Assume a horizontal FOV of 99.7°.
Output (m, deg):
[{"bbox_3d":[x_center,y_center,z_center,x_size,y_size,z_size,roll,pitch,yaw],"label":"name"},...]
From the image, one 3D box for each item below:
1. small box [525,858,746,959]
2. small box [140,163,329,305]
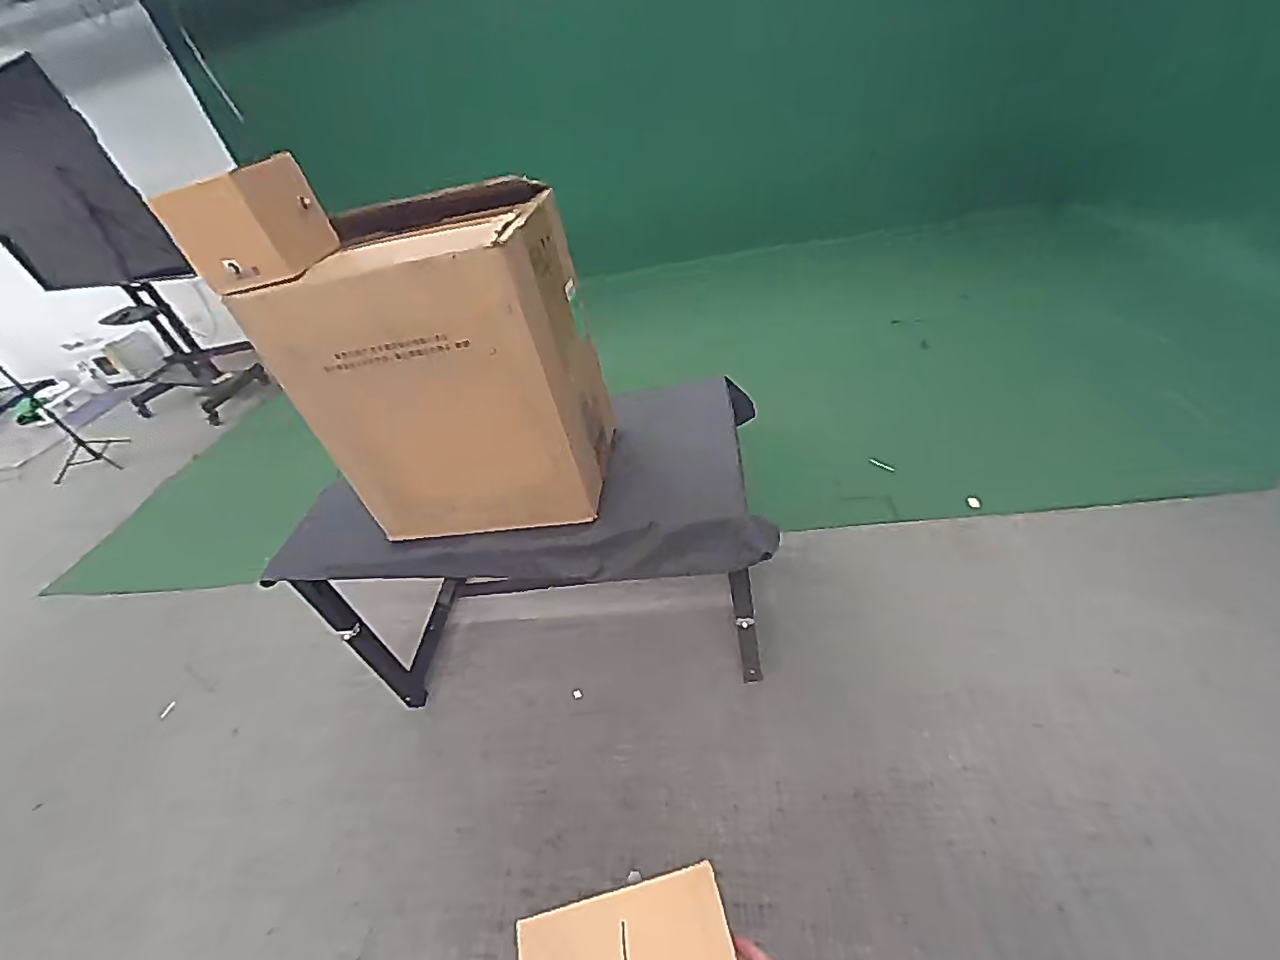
[{"bbox_3d":[0.015,0.443,0.447,0.168,0.176,0.179,-15,50,-4],"label":"small box"},{"bbox_3d":[-0.693,-0.432,0.954,0.168,0.176,0.179,-10,39,10],"label":"small box"}]
